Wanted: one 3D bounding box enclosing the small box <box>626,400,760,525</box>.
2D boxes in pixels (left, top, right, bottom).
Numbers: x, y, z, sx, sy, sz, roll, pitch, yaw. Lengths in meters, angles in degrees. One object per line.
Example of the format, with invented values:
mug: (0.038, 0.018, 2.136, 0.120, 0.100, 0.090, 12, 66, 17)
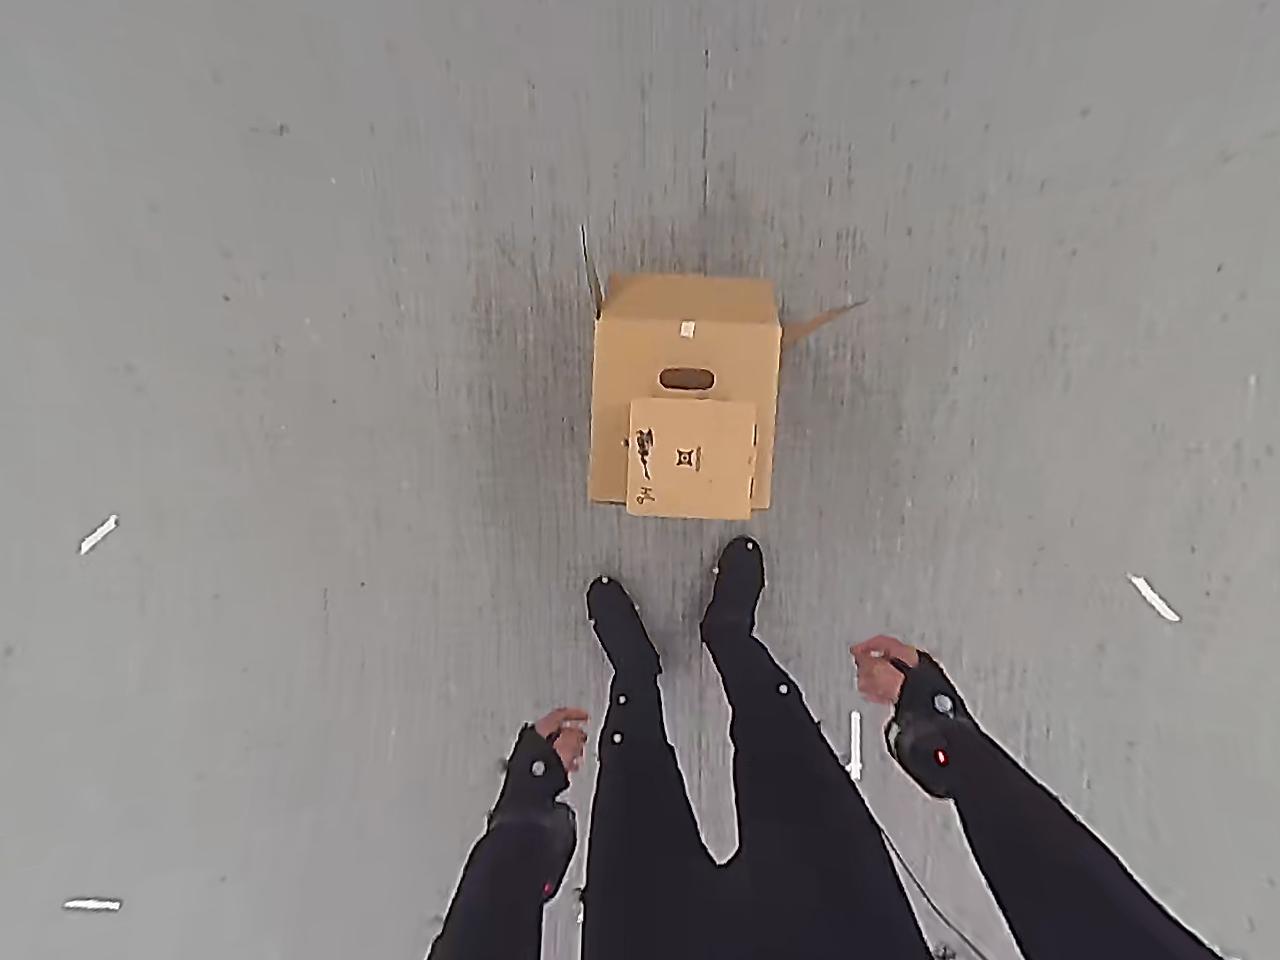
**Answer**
small box: (0.072, -0.032, 0.813, 0.179, 0.176, 0.168, 3, 96, 1)
